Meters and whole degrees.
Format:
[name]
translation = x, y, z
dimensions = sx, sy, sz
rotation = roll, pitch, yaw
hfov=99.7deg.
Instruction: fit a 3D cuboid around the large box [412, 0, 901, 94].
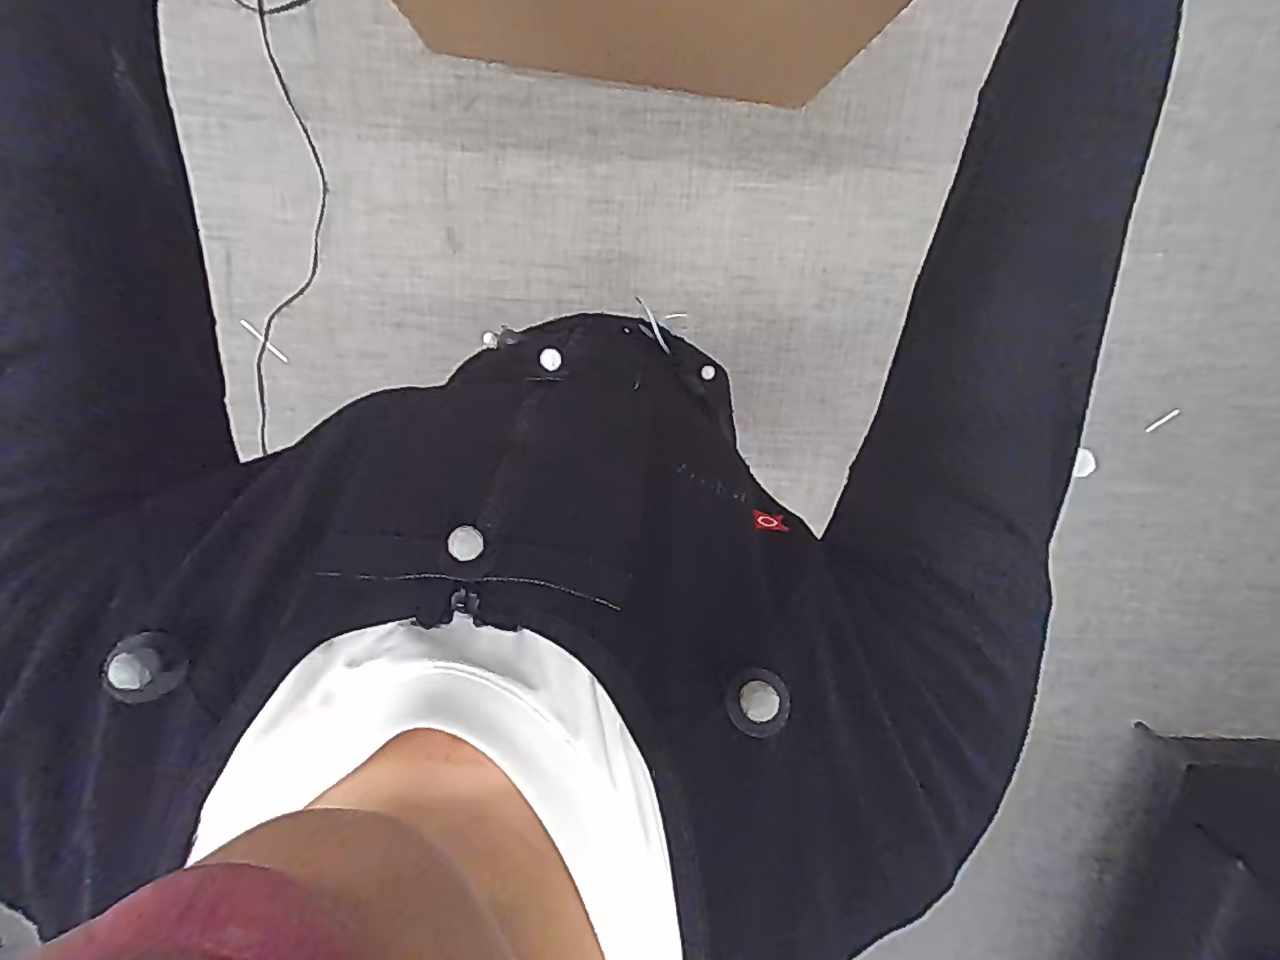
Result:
[large box]
translation = 0.011, -0.528, 0.388
dimensions = 0.408, 0.320, 0.320
rotation = 4, 110, -6
